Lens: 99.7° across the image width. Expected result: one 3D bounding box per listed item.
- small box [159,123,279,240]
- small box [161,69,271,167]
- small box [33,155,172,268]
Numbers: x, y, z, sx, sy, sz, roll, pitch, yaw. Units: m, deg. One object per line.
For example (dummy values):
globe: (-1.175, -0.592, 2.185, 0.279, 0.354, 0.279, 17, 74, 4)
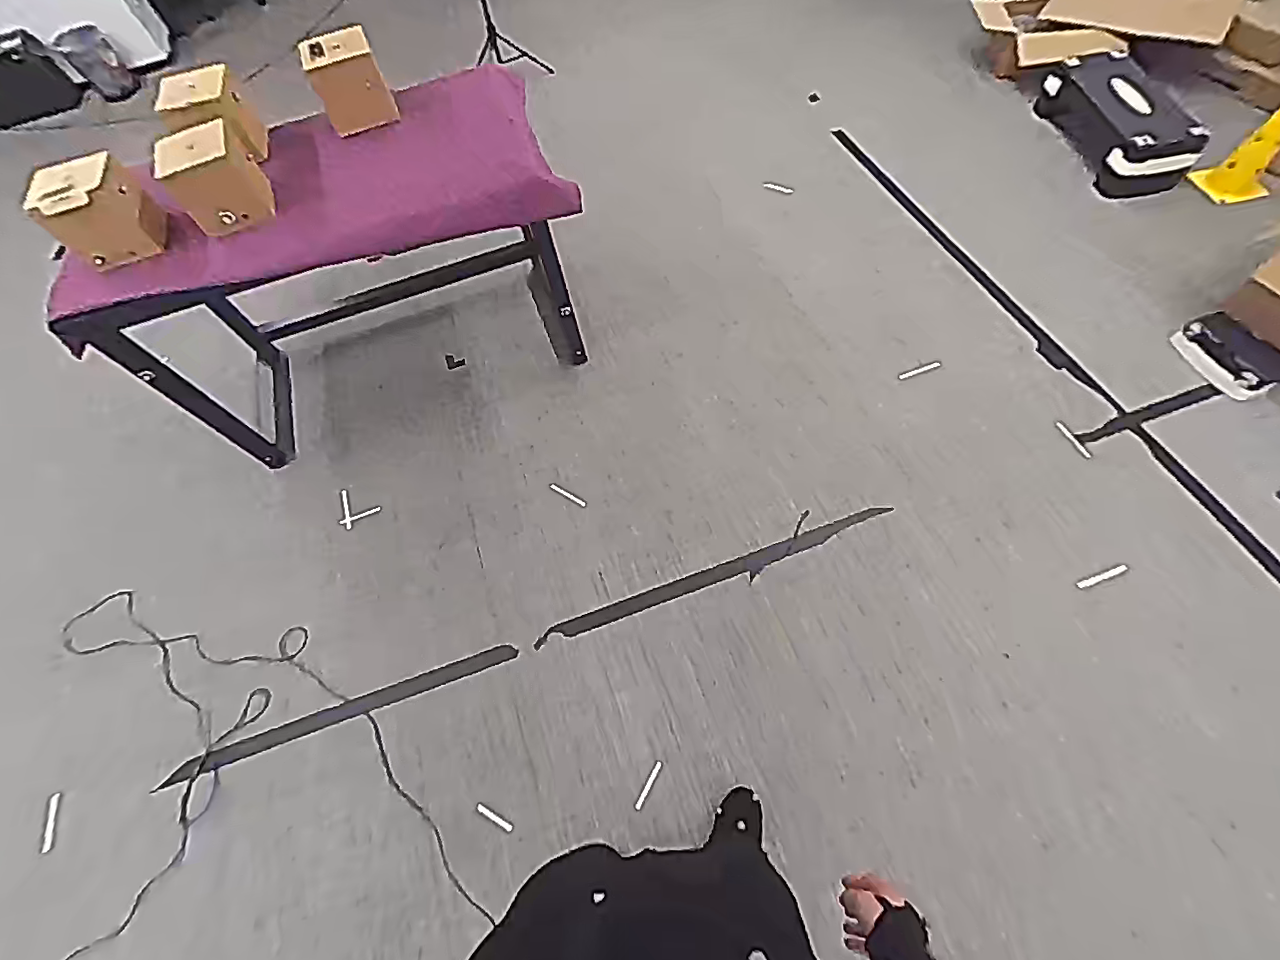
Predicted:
small box: (-1.033, -0.733, 1.337, 0.168, 0.176, 0.179, -24, 62, -6)
small box: (-1.135, -0.964, 1.465, 0.168, 0.176, 0.179, -17, 62, -4)
small box: (-1.291, -0.642, 1.314, 0.168, 0.176, 0.179, -21, 61, -6)
